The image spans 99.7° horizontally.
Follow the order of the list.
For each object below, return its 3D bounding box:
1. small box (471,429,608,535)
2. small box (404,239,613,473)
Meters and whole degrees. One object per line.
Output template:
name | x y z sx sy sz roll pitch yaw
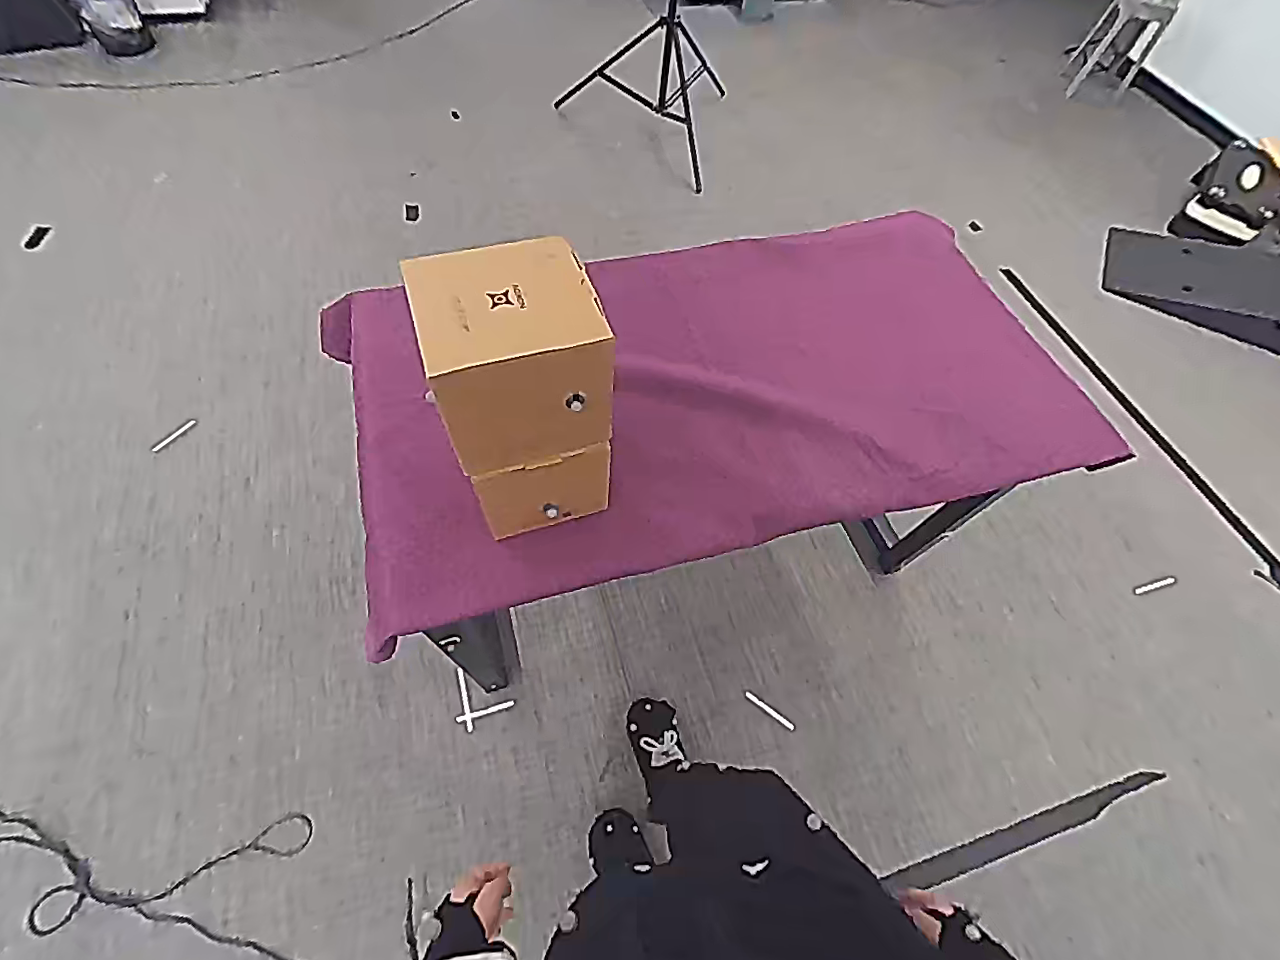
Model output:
small box | -0.149 -0.051 0.741 0.168 0.176 0.179 -15 63 -13
small box | -0.139 -0.132 0.602 0.179 0.176 0.168 -17 61 -13
